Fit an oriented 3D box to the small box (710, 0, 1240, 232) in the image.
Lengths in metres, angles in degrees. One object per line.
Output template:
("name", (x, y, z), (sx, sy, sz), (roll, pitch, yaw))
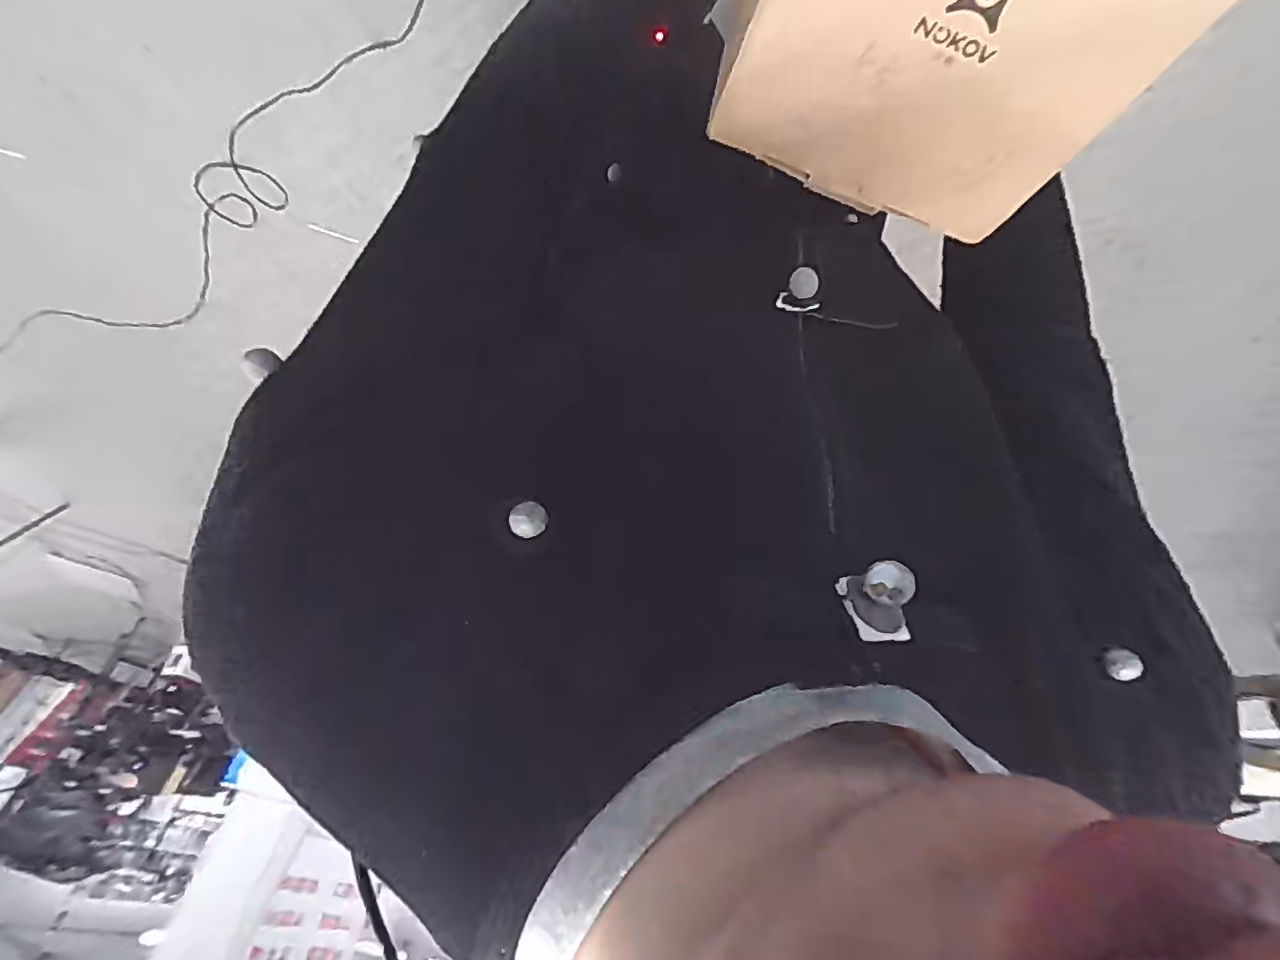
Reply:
("small box", (0.149, -0.260, 0.241), (0.168, 0.176, 0.179), (16, 158, -8))
